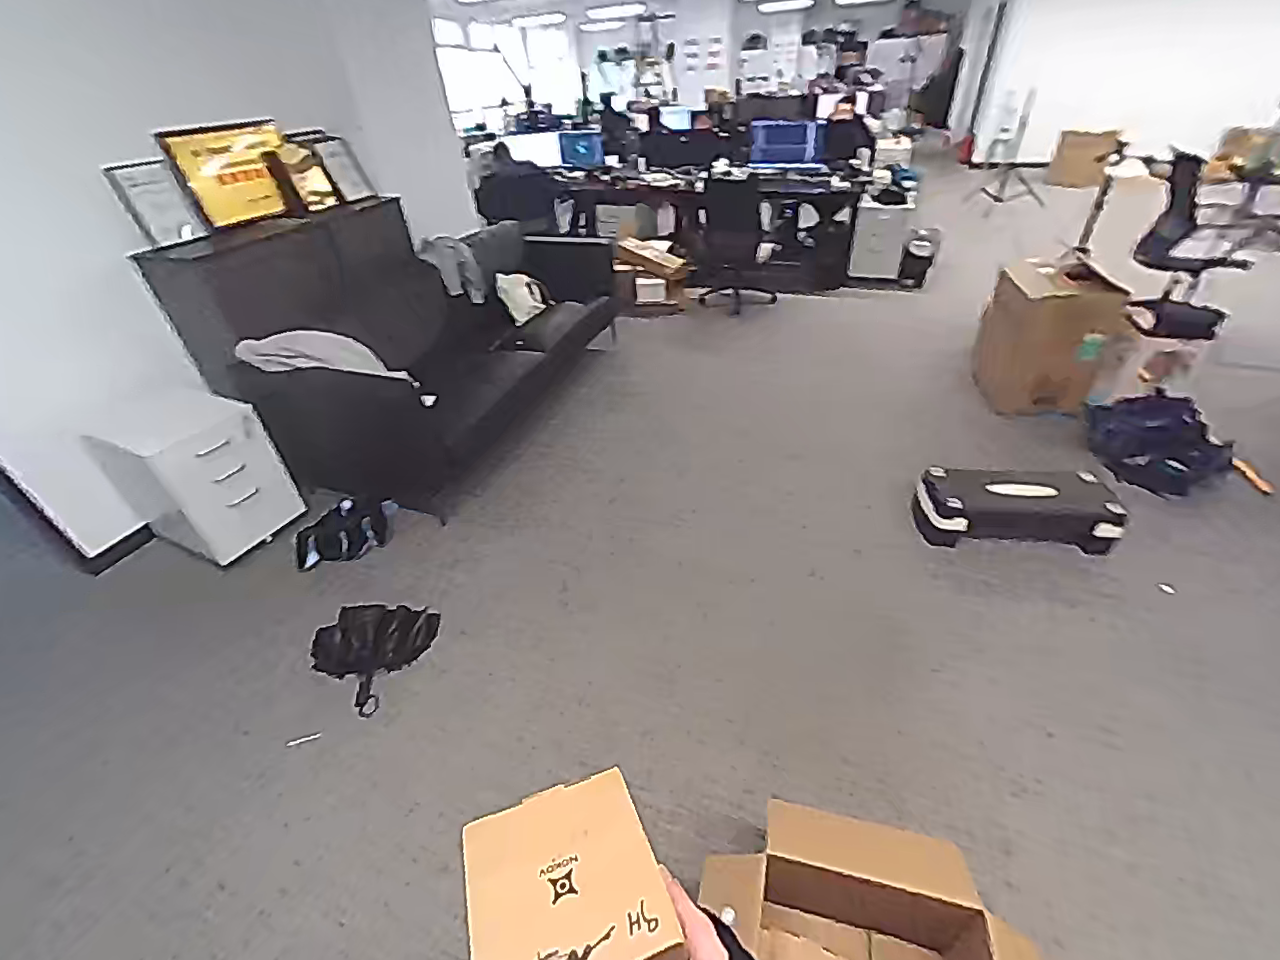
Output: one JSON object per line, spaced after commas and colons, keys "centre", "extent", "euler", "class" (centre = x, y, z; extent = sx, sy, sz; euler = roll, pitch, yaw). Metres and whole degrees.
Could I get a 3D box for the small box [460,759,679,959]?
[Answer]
{"centre": [-0.069, 0.420, 0.519], "extent": [0.168, 0.176, 0.179], "euler": [-13, 25, -16], "class": "small box"}
